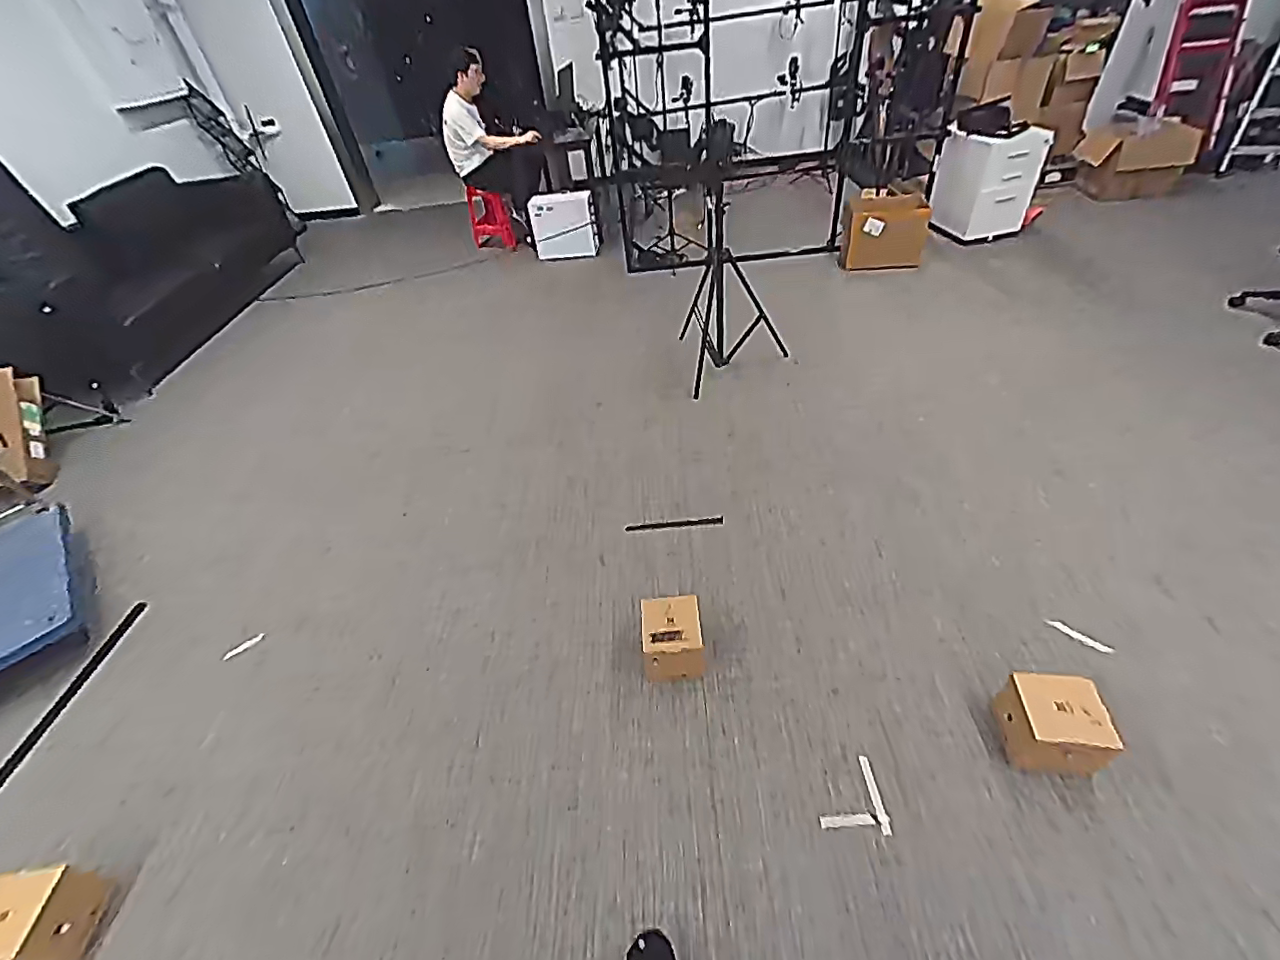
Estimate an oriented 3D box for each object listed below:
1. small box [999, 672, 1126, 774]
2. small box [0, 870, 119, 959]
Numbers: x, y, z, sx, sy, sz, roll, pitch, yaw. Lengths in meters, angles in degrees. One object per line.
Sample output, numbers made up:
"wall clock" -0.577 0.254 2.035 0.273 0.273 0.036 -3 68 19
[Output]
"small box" 0.998 0.586 1.301 0.179 0.176 0.168 2 44 11
"small box" -1.359 1.009 1.221 0.179 0.176 0.168 -10 42 -1
